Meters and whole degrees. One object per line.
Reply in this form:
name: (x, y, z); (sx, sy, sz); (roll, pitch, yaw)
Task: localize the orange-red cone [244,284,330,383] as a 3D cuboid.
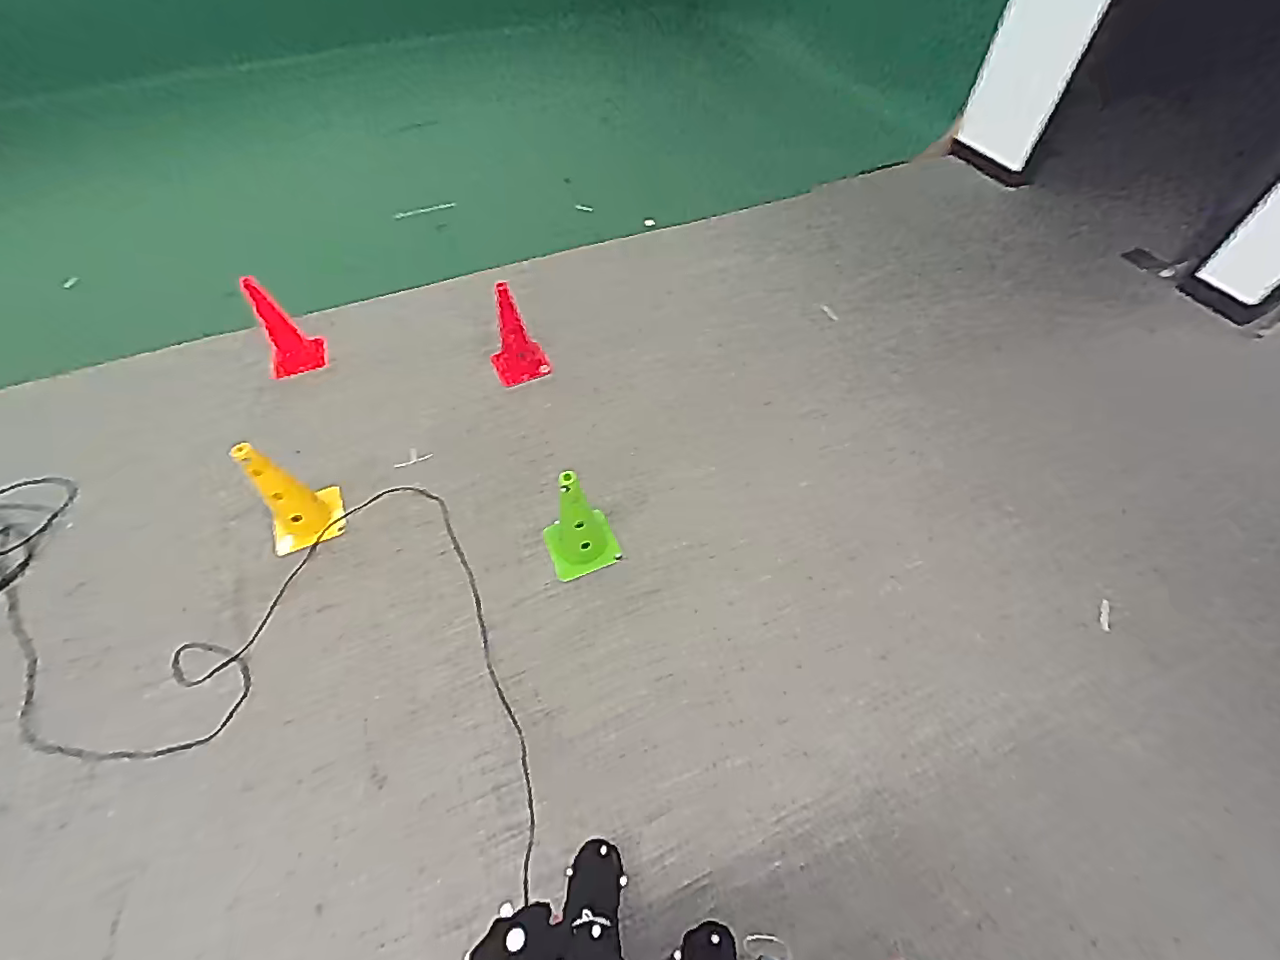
orange-red cone: (-1.357, -0.571, 2.031); (0.198, 0.360, 0.199); (-19, 57, -10)

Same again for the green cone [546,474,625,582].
green cone: (-0.176, 0.098, 1.510); (0.202, 0.368, 0.200); (-21, 56, -11)

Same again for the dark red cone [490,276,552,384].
dark red cone: (-0.467, -0.557, 1.961); (0.202, 0.394, 0.201); (-24, 56, -15)
